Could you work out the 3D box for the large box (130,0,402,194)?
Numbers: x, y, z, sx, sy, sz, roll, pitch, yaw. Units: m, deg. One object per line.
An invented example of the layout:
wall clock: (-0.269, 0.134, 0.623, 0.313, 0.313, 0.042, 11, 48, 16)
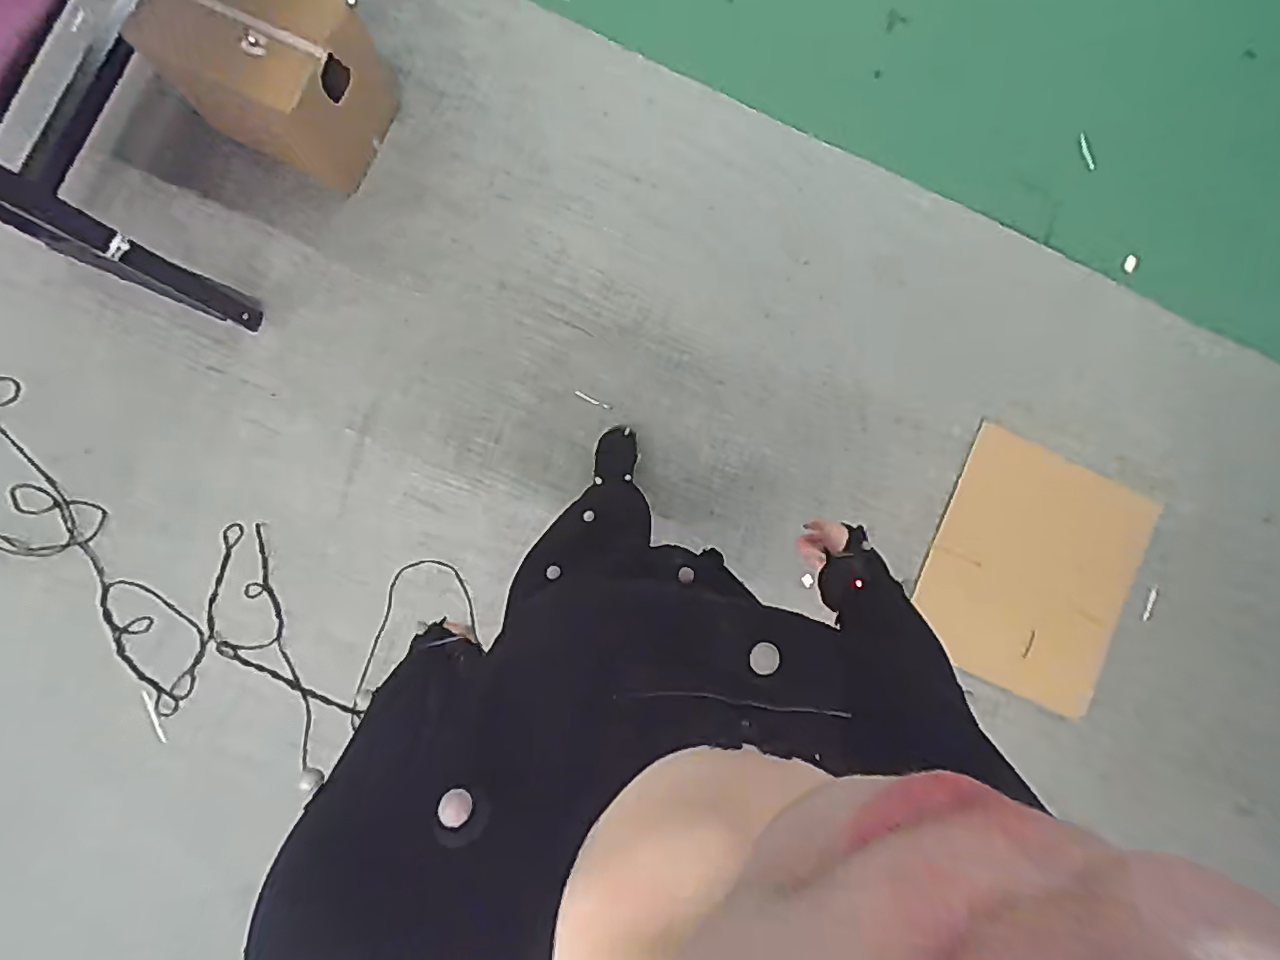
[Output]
large box: (-0.893, -1.011, 1.354, 0.408, 0.320, 0.320, 24, 86, -3)
